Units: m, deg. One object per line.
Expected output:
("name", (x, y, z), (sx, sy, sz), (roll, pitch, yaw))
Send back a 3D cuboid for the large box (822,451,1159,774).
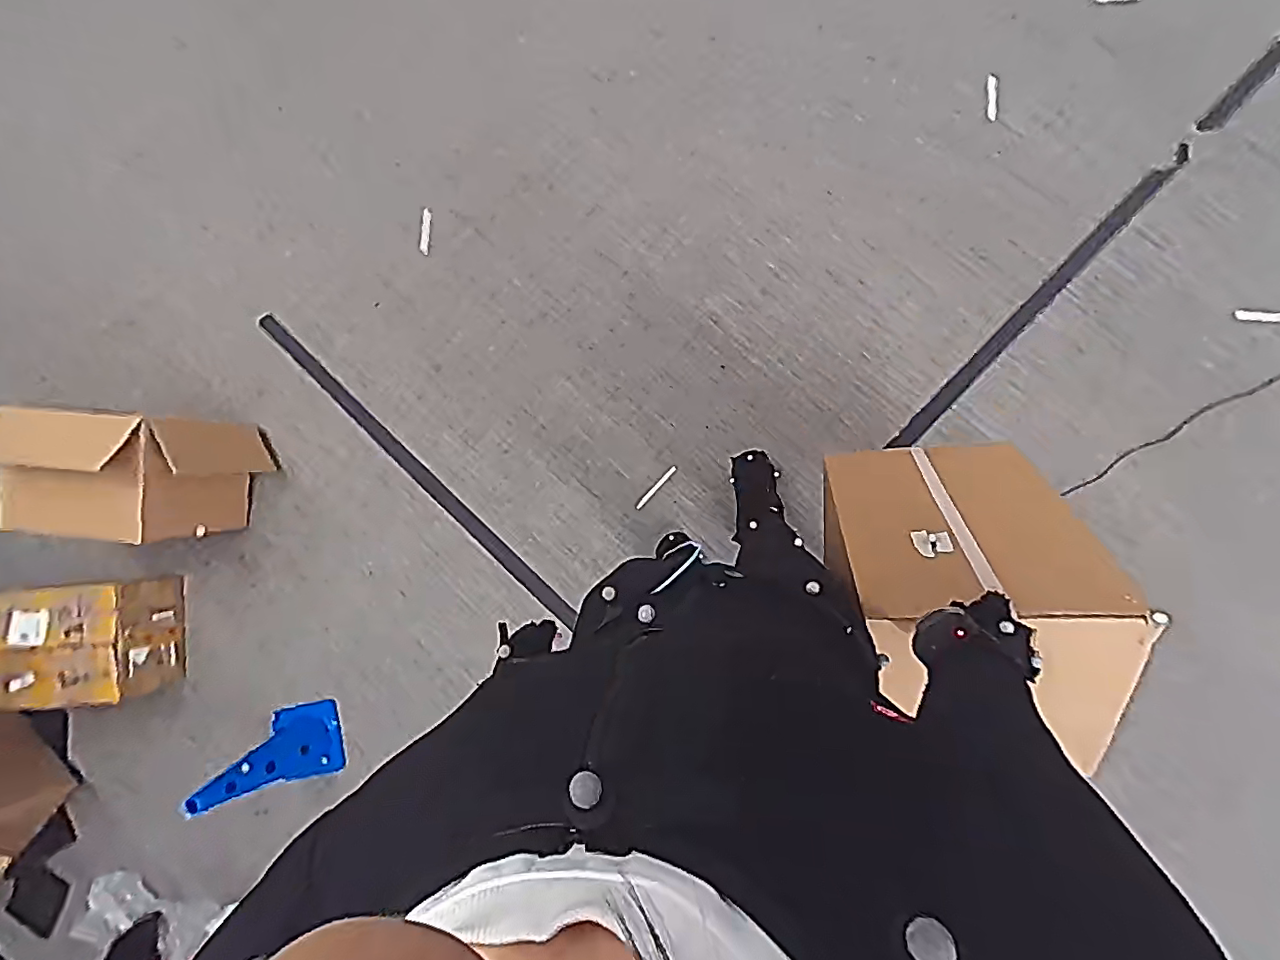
("large box", (0.484, 0.189, 0.876), (0.320, 0.408, 0.320), (-4, 123, 13))
